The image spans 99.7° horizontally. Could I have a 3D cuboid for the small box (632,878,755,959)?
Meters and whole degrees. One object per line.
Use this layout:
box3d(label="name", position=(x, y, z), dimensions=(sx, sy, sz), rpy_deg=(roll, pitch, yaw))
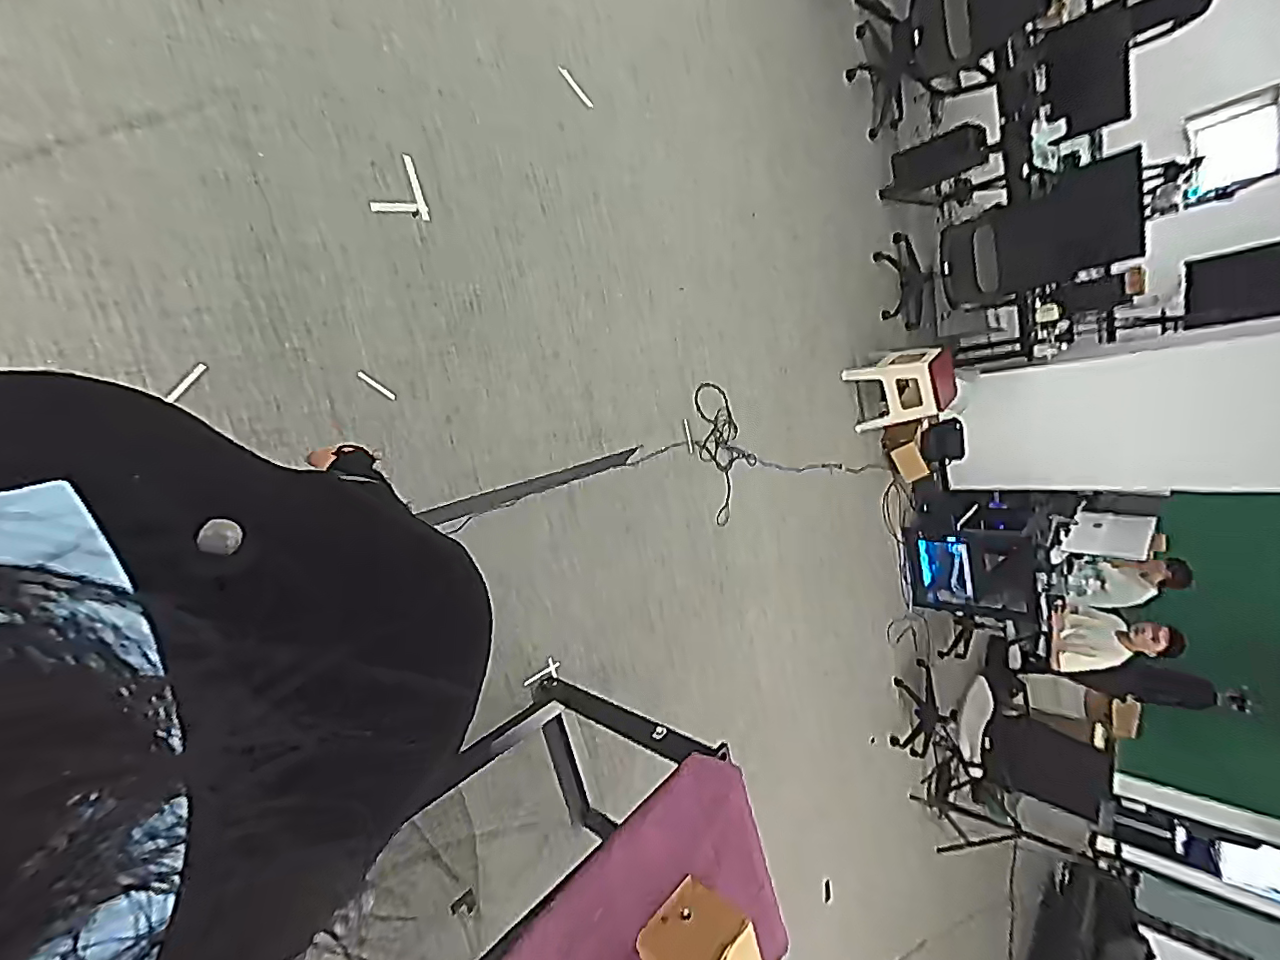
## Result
box3d(label="small box", position=(0.110, 0.955, 1.076), dimensions=(0.168, 0.176, 0.179), rpy_deg=(-24, 104, -39))
